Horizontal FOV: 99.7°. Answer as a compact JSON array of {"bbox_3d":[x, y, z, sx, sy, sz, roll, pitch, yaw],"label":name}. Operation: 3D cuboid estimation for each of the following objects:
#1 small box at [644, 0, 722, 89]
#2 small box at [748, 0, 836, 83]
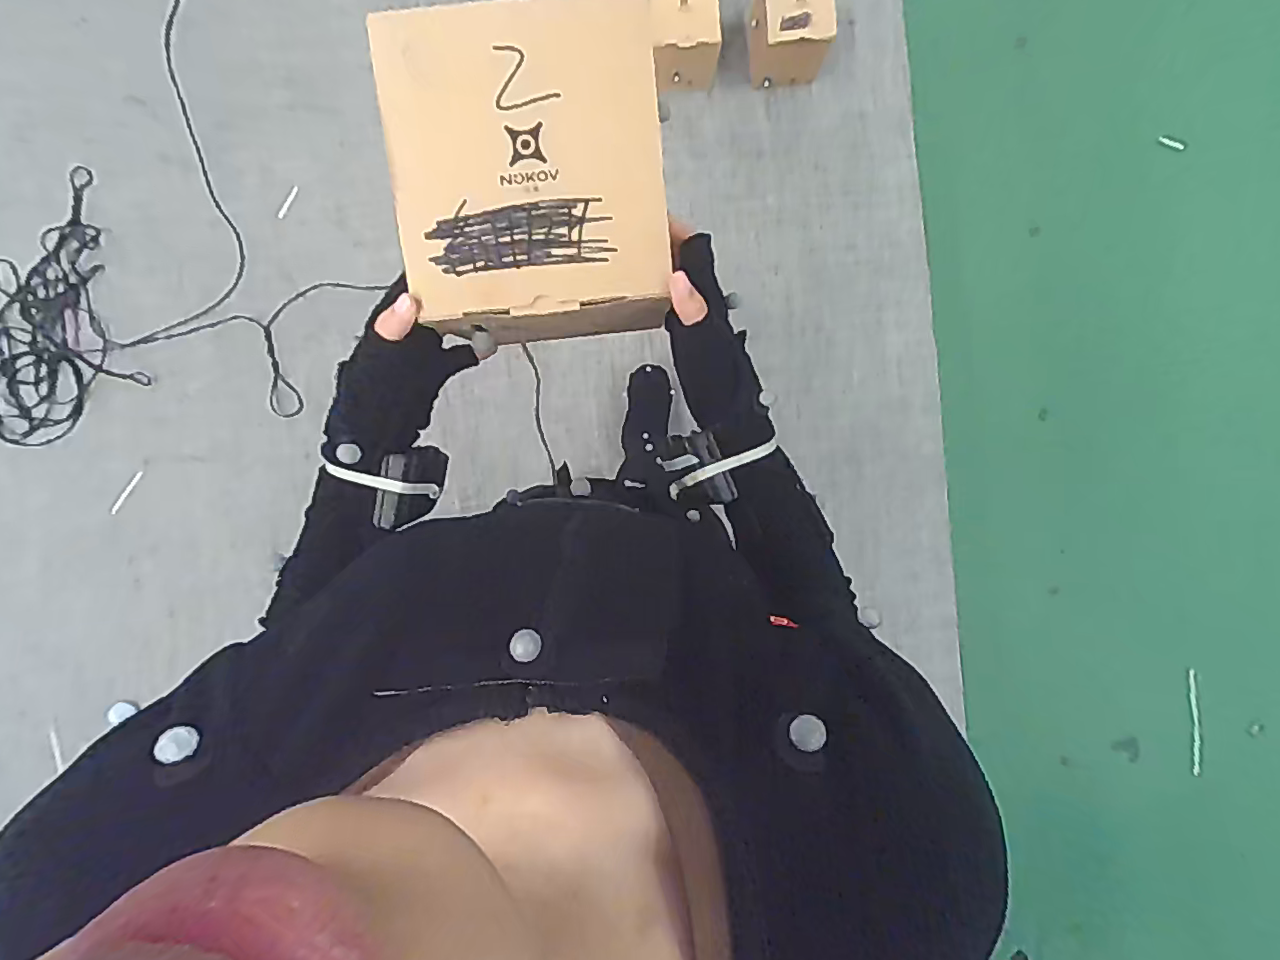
[{"bbox_3d":[0.100,-1.106,1.328,0.168,0.176,0.179,-5,94,-2],"label":"small box"},{"bbox_3d":[0.369,-1.118,1.335,0.168,0.176,0.179,-5,93,-2],"label":"small box"}]
